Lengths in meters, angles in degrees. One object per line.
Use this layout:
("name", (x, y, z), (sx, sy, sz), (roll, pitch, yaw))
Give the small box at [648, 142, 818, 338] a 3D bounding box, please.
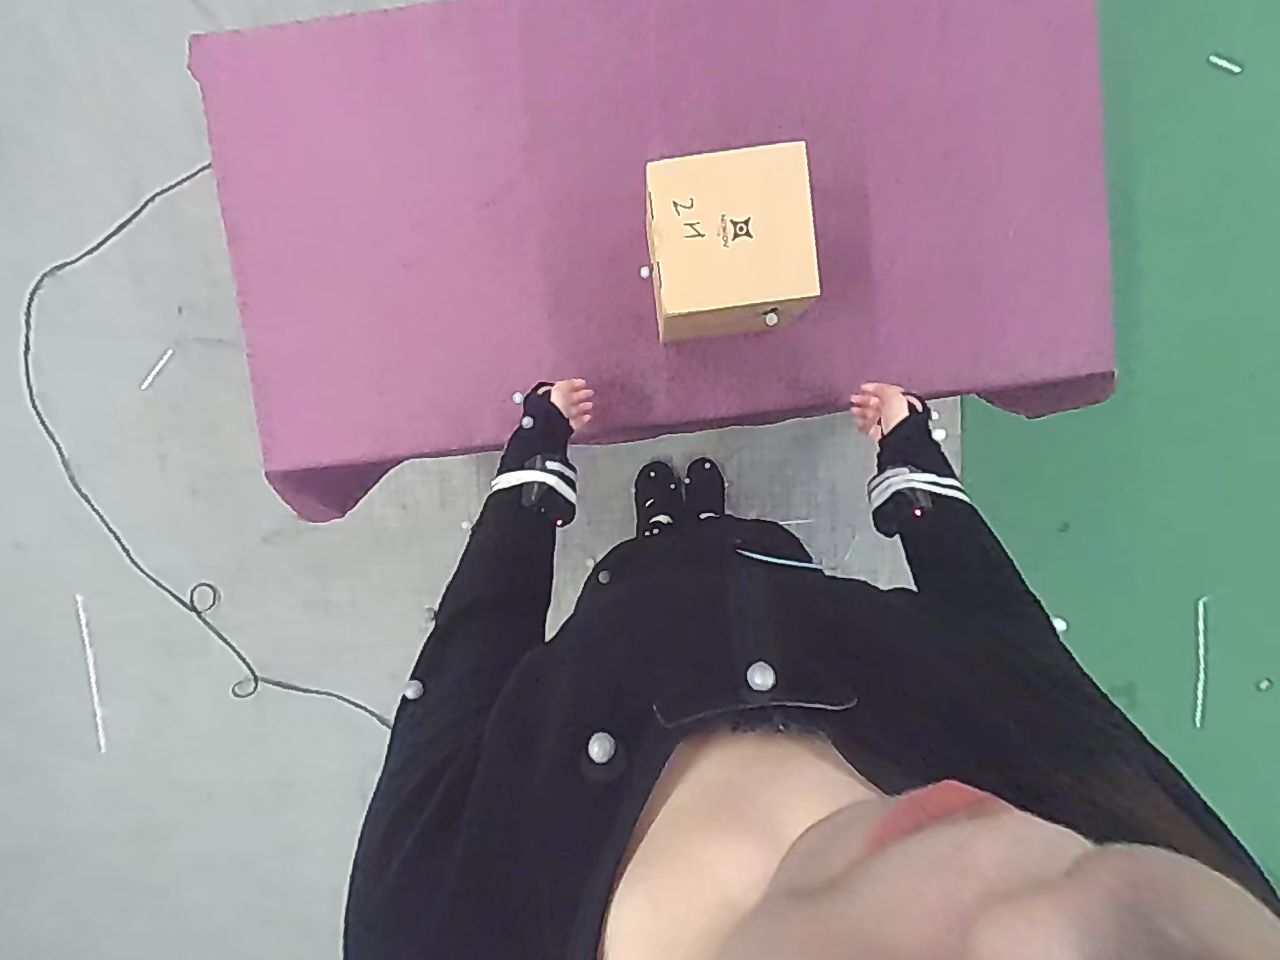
("small box", (0.104, -0.283, 0.673), (0.179, 0.176, 0.168), (-7, 93, 2))
